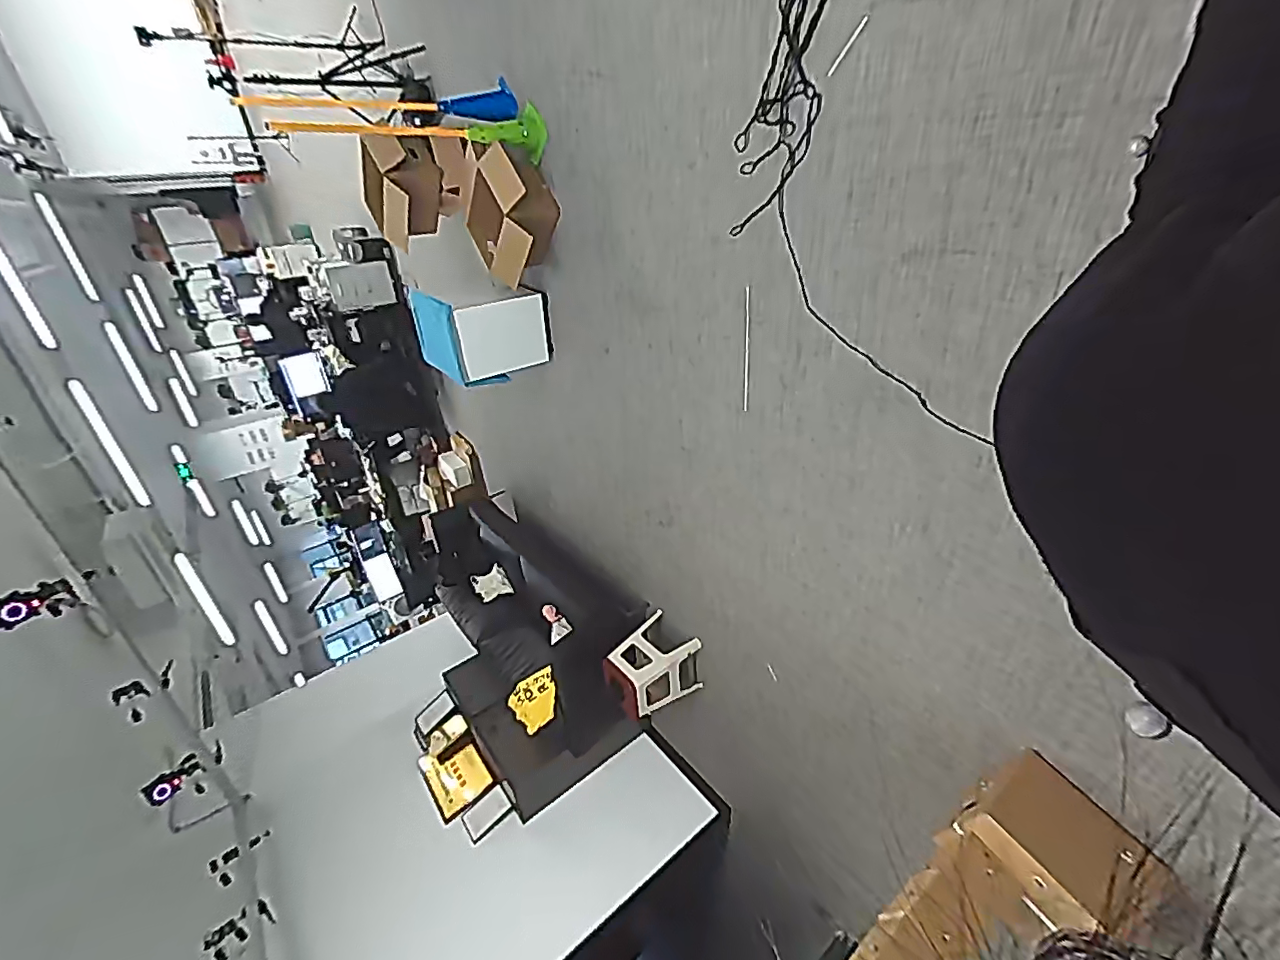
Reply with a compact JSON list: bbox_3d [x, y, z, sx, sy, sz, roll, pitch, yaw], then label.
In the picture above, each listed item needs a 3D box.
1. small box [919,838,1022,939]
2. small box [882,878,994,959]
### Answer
[{"bbox_3d":[0.945,1.177,1.552,0.168,0.176,0.179,46,145,31],"label":"small box"},{"bbox_3d":[0.812,1.228,1.477,0.179,0.176,0.168,46,145,30],"label":"small box"}]
